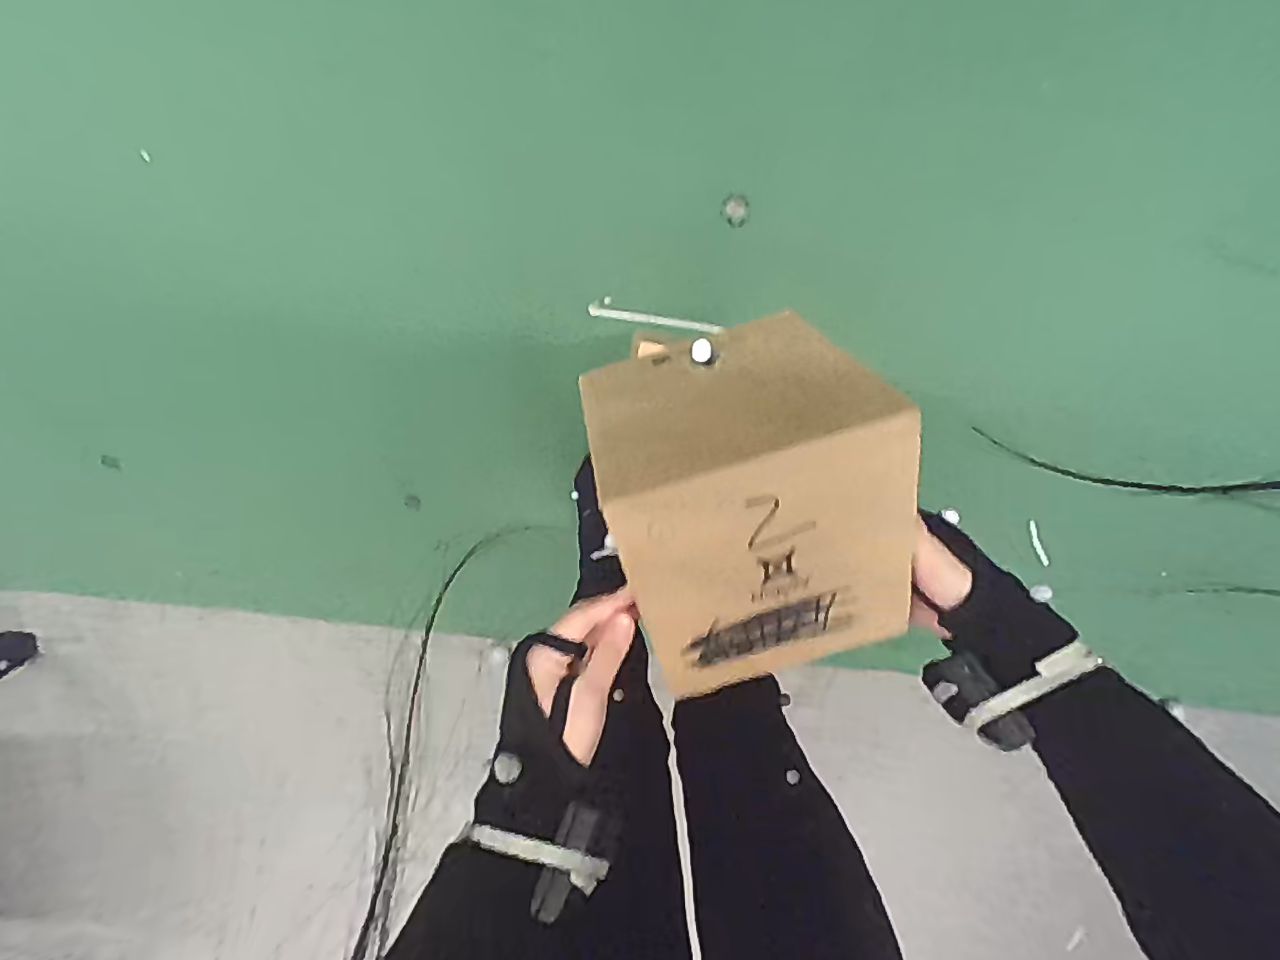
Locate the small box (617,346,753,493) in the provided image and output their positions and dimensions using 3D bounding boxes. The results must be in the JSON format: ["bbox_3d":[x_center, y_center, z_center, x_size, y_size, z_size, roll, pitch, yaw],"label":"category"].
[{"bbox_3d":[0.058,-0.102,0.845,0.168,0.176,0.179,11,110,-7],"label":"small box"}]
